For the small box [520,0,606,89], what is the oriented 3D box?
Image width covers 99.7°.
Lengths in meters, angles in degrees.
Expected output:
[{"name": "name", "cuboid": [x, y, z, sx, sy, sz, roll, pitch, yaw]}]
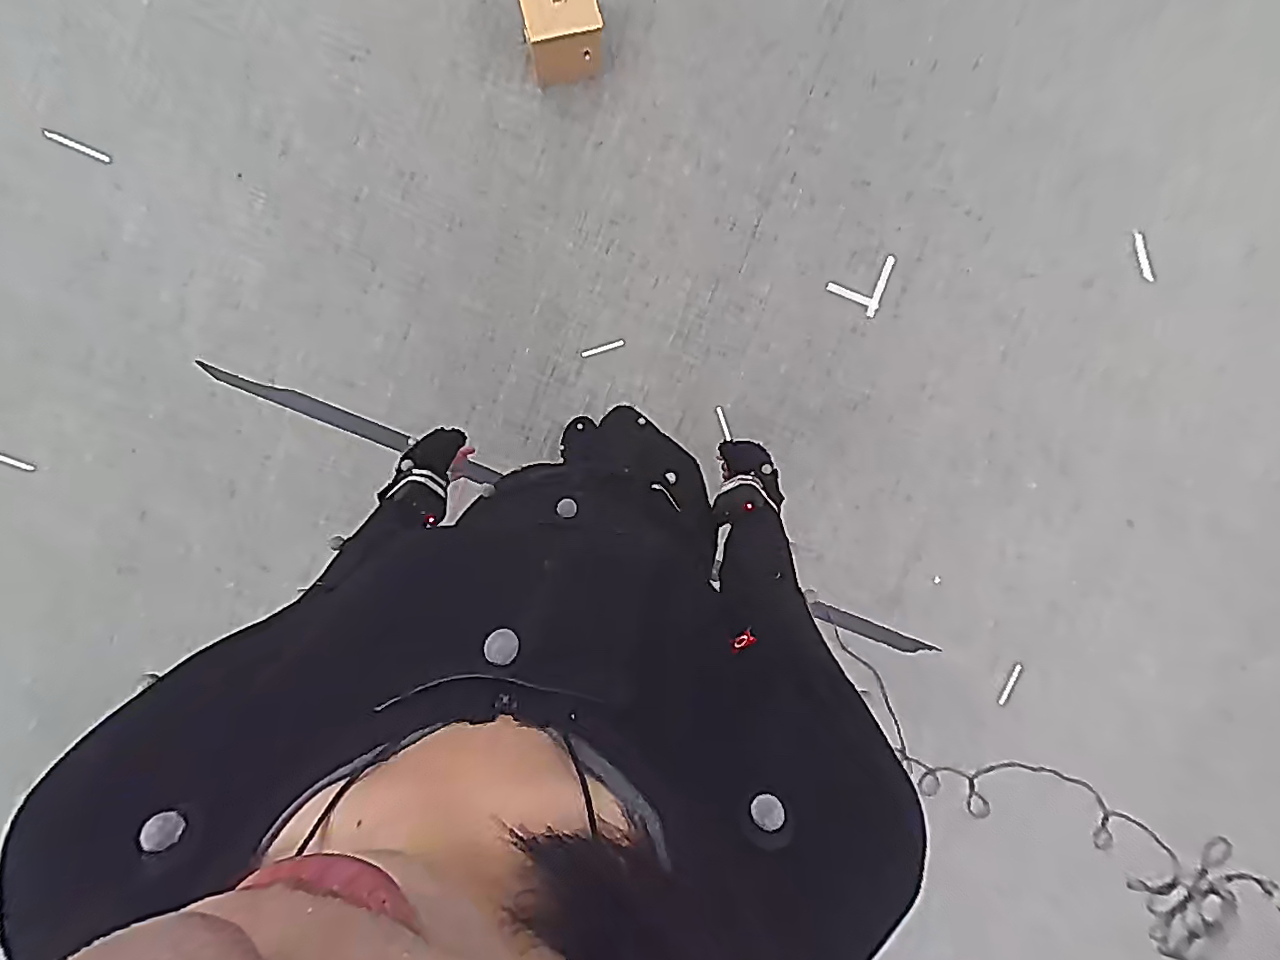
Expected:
[{"name": "small box", "cuboid": [-0.186, -1.091, 1.303, 0.179, 0.176, 0.168, -15, 96, -2]}]
